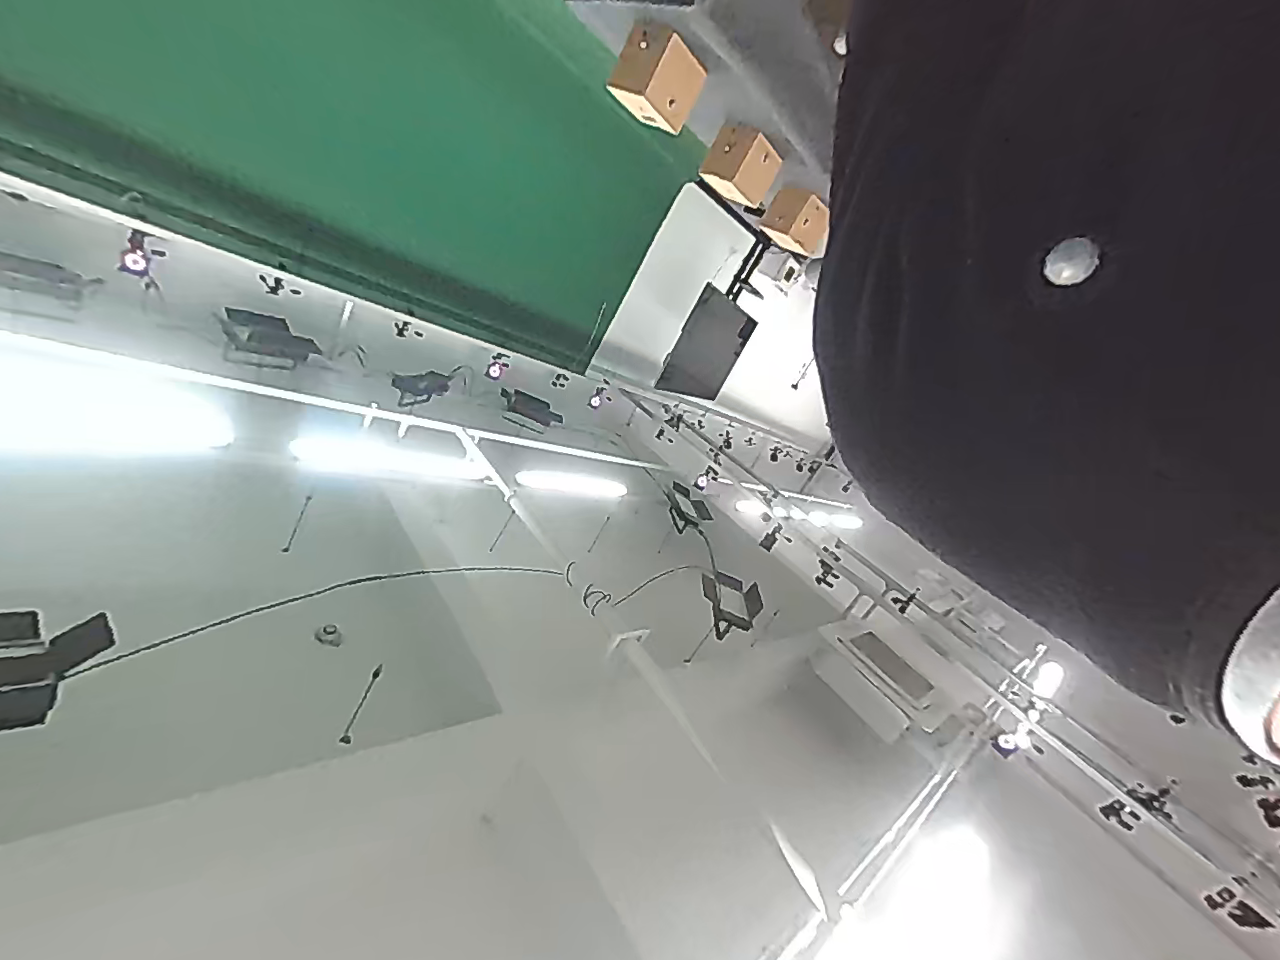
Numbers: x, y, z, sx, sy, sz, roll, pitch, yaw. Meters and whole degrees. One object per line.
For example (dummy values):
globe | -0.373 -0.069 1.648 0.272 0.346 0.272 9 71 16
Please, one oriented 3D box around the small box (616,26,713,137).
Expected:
small box | 0.072 -1.108 1.506 0.168 0.176 0.179 41 -160 31

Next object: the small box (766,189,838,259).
small box | 0.628 -0.984 2.070 0.168 0.176 0.179 18 -156 -41

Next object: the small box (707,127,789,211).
small box | 0.366 -1.048 1.817 0.179 0.176 0.168 10 -153 -50
